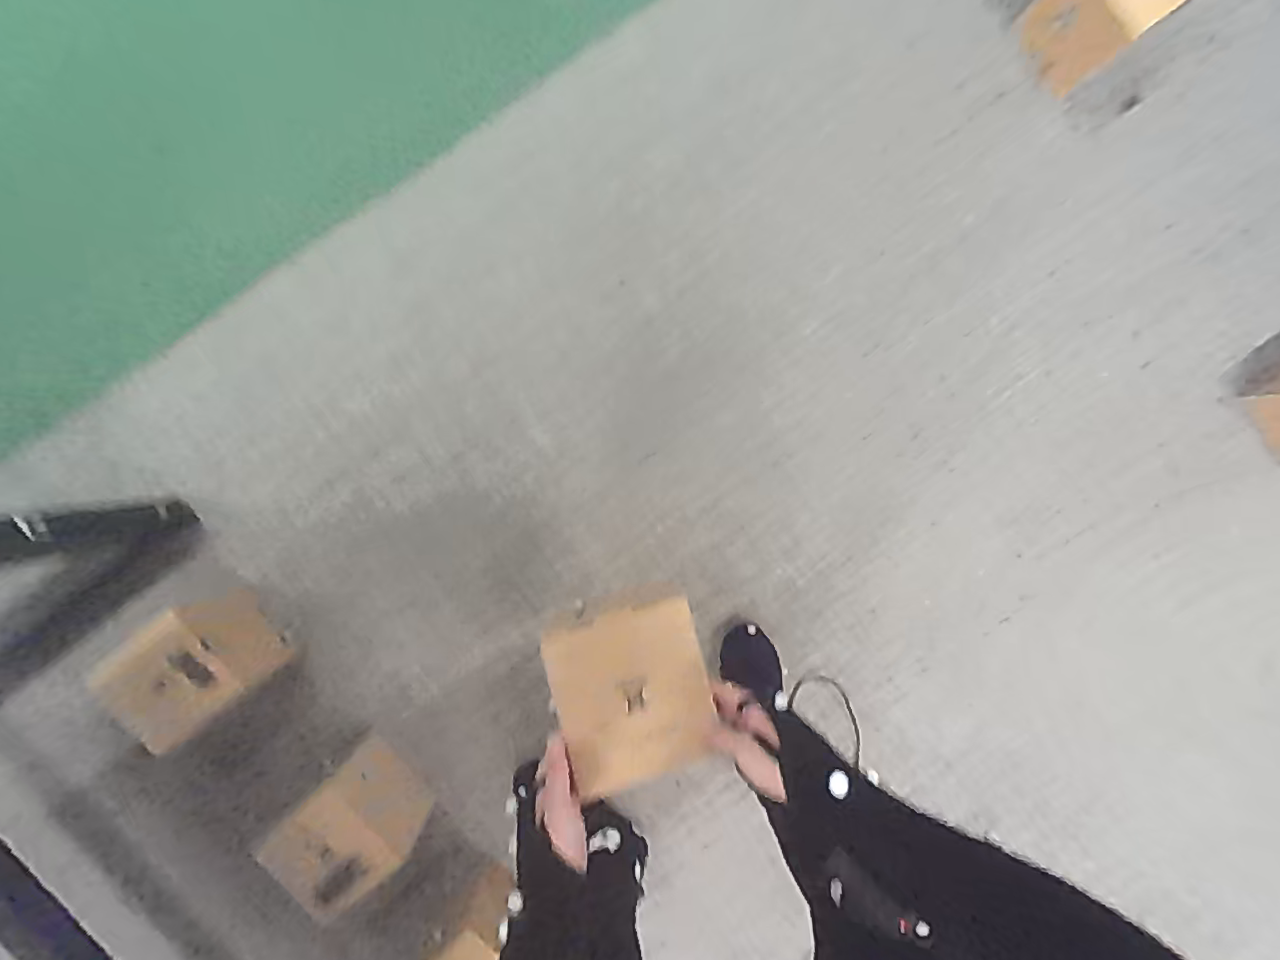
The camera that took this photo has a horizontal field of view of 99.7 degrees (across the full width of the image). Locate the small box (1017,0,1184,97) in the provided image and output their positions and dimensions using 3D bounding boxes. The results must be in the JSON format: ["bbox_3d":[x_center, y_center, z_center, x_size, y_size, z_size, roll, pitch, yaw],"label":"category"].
[{"bbox_3d":[0.812,-0.832,0.949,0.179,0.176,0.168,-37,93,-3],"label":"small box"}]

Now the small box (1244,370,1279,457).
[{"bbox_3d":[1.308,-0.143,1.001,0.168,0.176,0.179,-36,93,-1],"label":"small box"}]

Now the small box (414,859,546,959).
[{"bbox_3d":[-0.279,0.821,0.940,0.168,0.176,0.179,45,89,-4],"label":"small box"}]

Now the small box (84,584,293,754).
[{"bbox_3d":[-0.720,0.297,0.894,0.179,0.176,0.168,-40,93,-1],"label":"small box"}]
